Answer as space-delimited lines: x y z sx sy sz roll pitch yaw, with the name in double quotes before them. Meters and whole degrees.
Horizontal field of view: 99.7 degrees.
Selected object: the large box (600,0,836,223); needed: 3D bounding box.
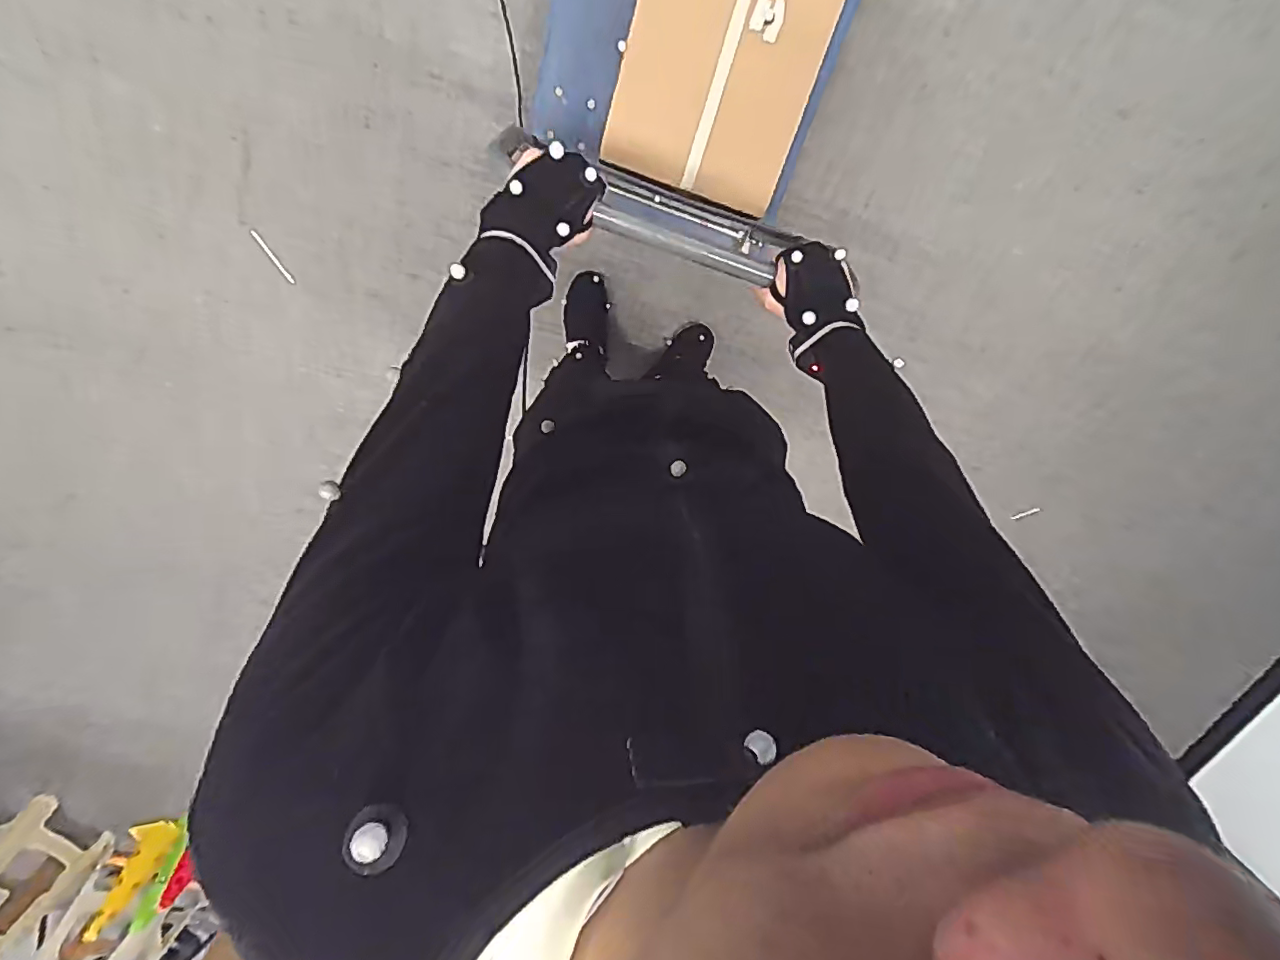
"large box" 0.119 -0.744 1.020 0.320 0.320 0.408 14 112 -11
